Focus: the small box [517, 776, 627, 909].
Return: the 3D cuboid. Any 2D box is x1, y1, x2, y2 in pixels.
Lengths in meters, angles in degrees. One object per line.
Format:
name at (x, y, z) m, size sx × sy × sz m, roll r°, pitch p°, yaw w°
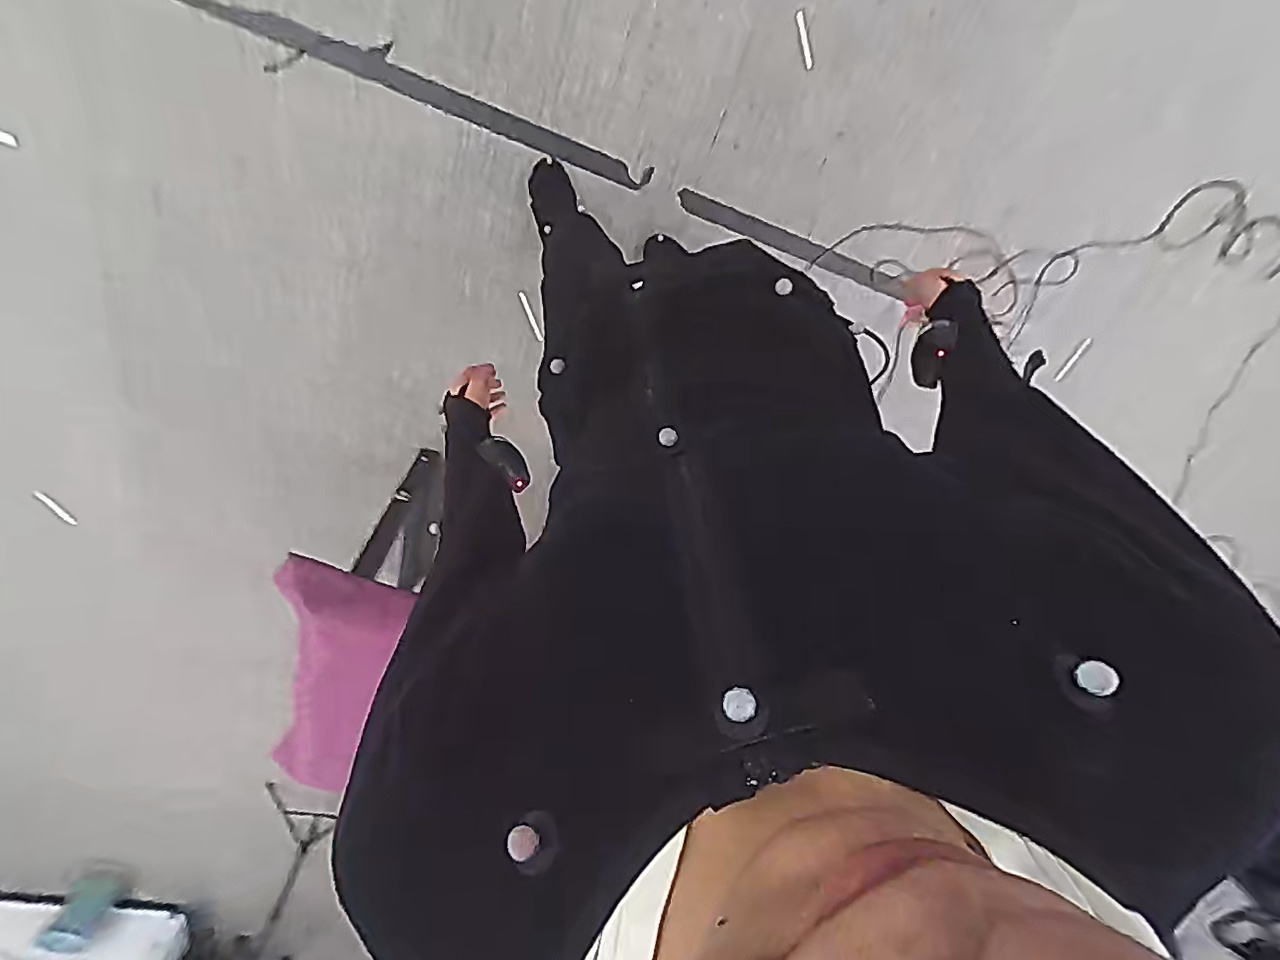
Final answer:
small box at (-0.132, 0.717, 1.075) m, size 0.179 × 0.176 × 0.168 m, roll 13°, pitch 121°, yaw -11°
